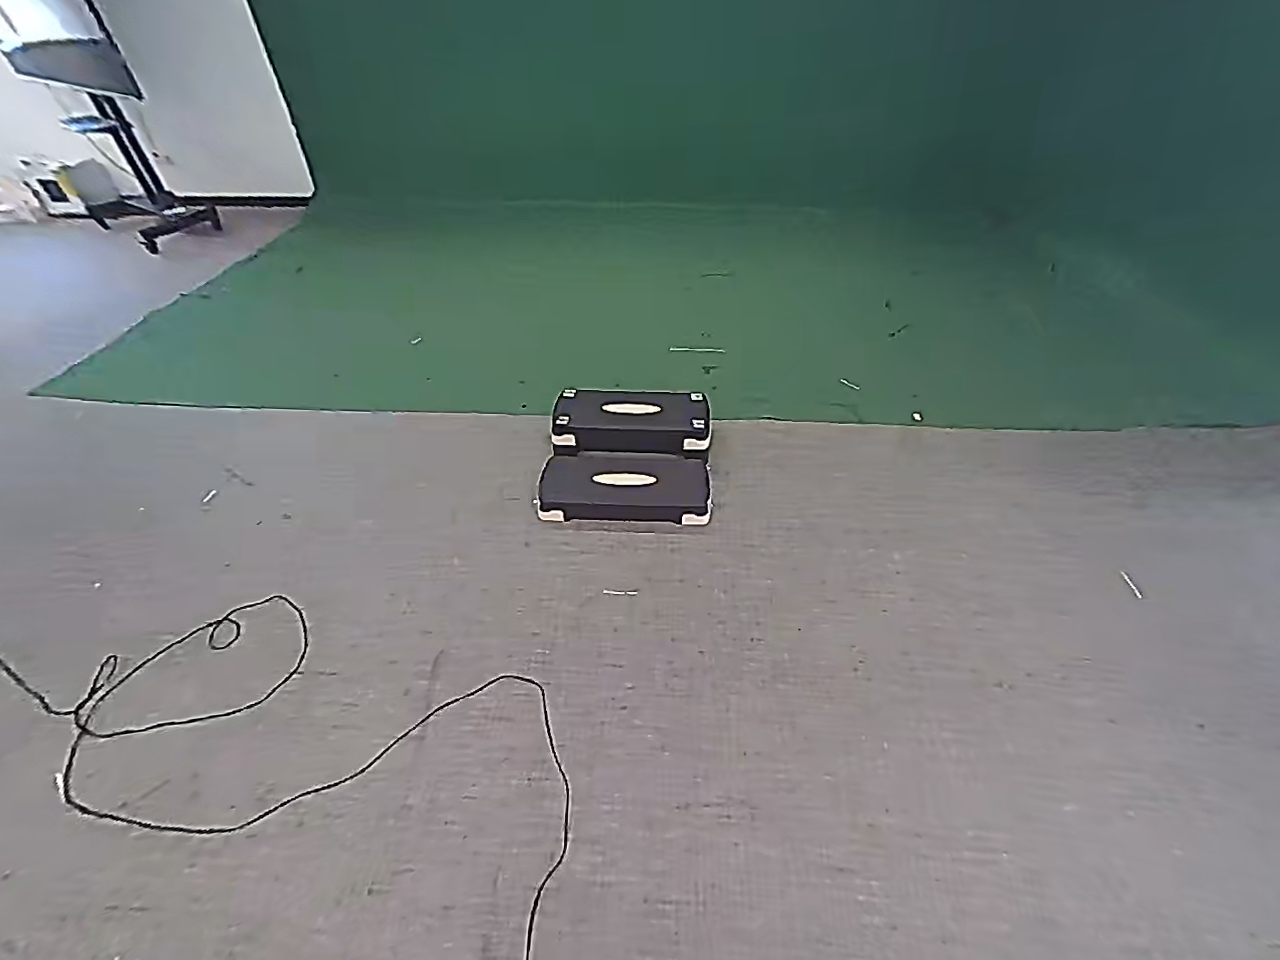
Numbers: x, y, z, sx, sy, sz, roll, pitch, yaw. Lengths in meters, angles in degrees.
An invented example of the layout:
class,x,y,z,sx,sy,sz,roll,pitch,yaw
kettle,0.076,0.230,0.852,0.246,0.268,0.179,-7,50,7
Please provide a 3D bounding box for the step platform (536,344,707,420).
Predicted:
class,x,y,z,sx,sy,sz,roll,pitch,yaw
step platform,-0.072,-0.402,2.232,0.684,0.204,0.286,1,43,3
